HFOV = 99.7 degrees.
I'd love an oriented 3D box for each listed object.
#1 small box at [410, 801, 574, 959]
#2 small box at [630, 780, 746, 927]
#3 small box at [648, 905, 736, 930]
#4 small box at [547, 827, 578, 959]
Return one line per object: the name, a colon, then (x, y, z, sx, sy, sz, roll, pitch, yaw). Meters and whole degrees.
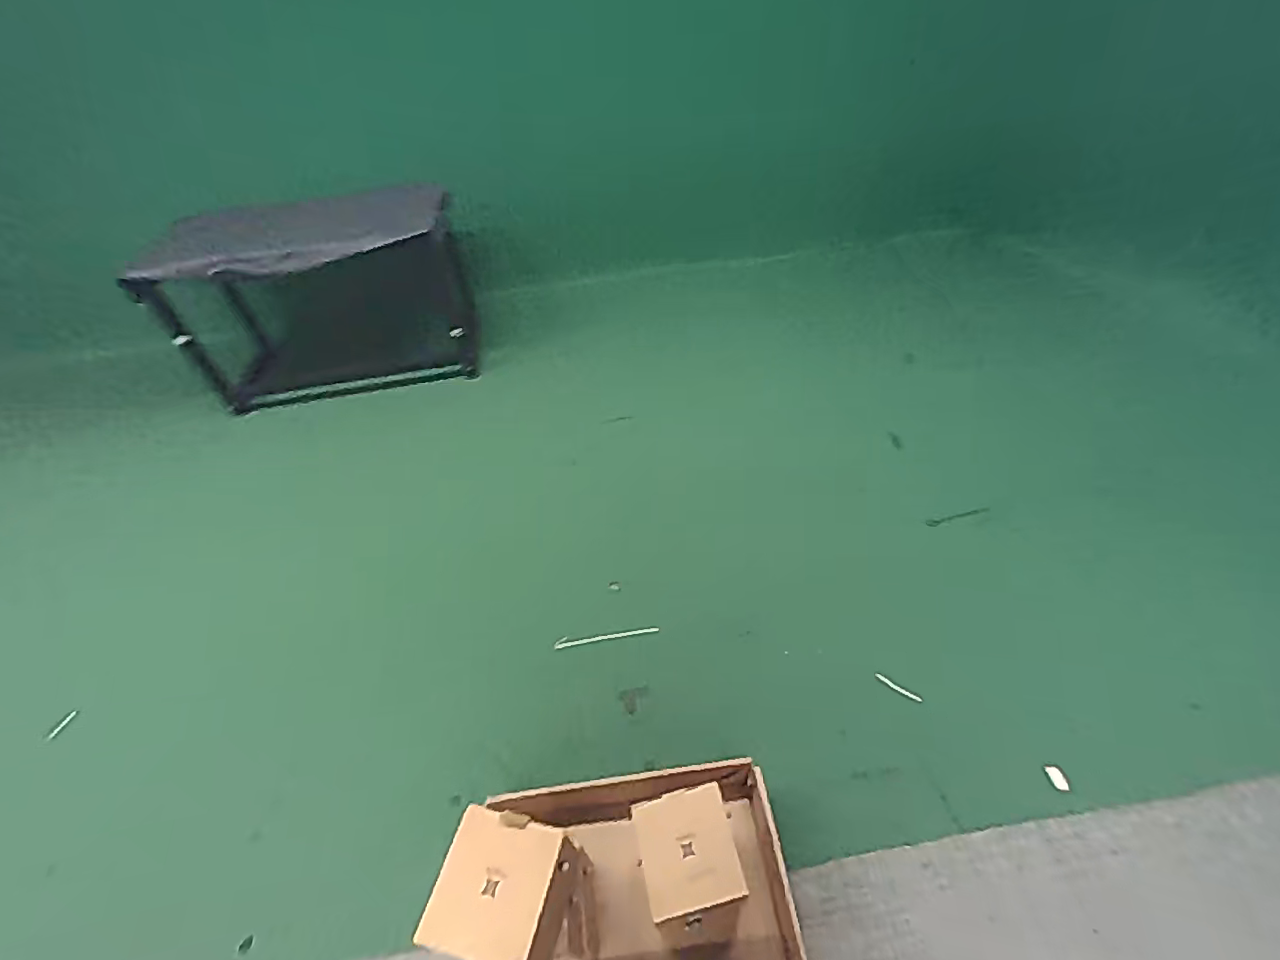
small box: (-0.211, 0.633, 0.832, 0.168, 0.176, 0.179, 8, 46, 12)
small box: (0.083, 0.682, 0.987, 0.168, 0.176, 0.179, -14, 48, -5)
small box: (0.097, 0.794, 1.105, 0.168, 0.176, 0.179, -6, 46, 1)
small box: (-0.204, 0.742, 0.952, 0.168, 0.176, 0.179, -8, 45, -3)
